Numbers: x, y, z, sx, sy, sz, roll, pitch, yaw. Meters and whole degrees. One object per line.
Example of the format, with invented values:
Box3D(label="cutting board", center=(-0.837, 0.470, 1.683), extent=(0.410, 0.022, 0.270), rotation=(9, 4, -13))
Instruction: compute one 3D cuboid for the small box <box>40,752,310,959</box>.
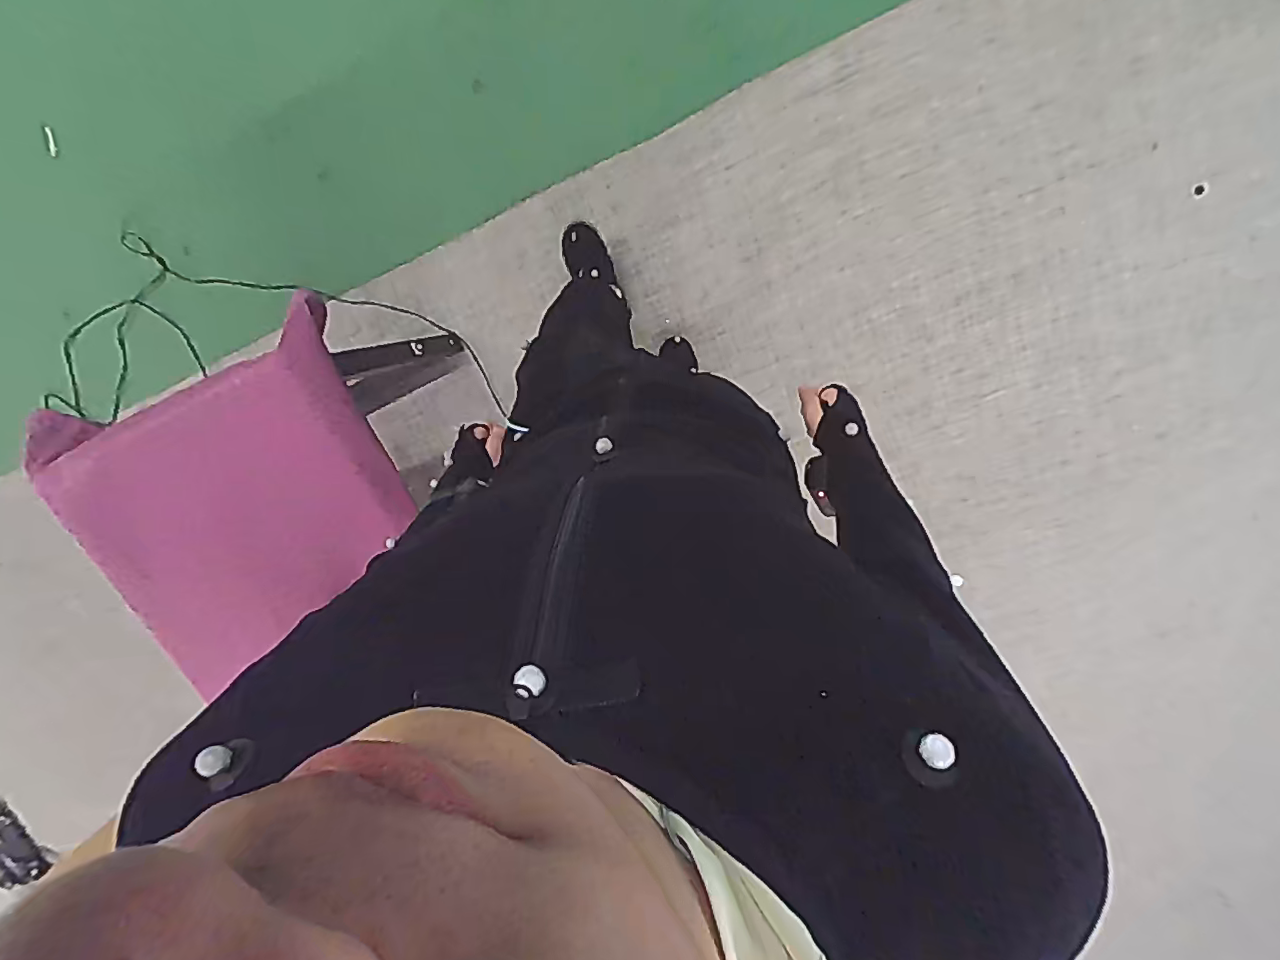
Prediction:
Box3D(label="small box", center=(-0.555, 0.470, 0.672), extent=(0.179, 0.176, 0.168), rotation=(-17, 104, 12))

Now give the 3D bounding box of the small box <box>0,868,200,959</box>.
Box3D(label="small box", center=(-0.576, 0.521, 0.517), extent=(0.168, 0.176, 0.179), rotation=(-19, 103, 13))
